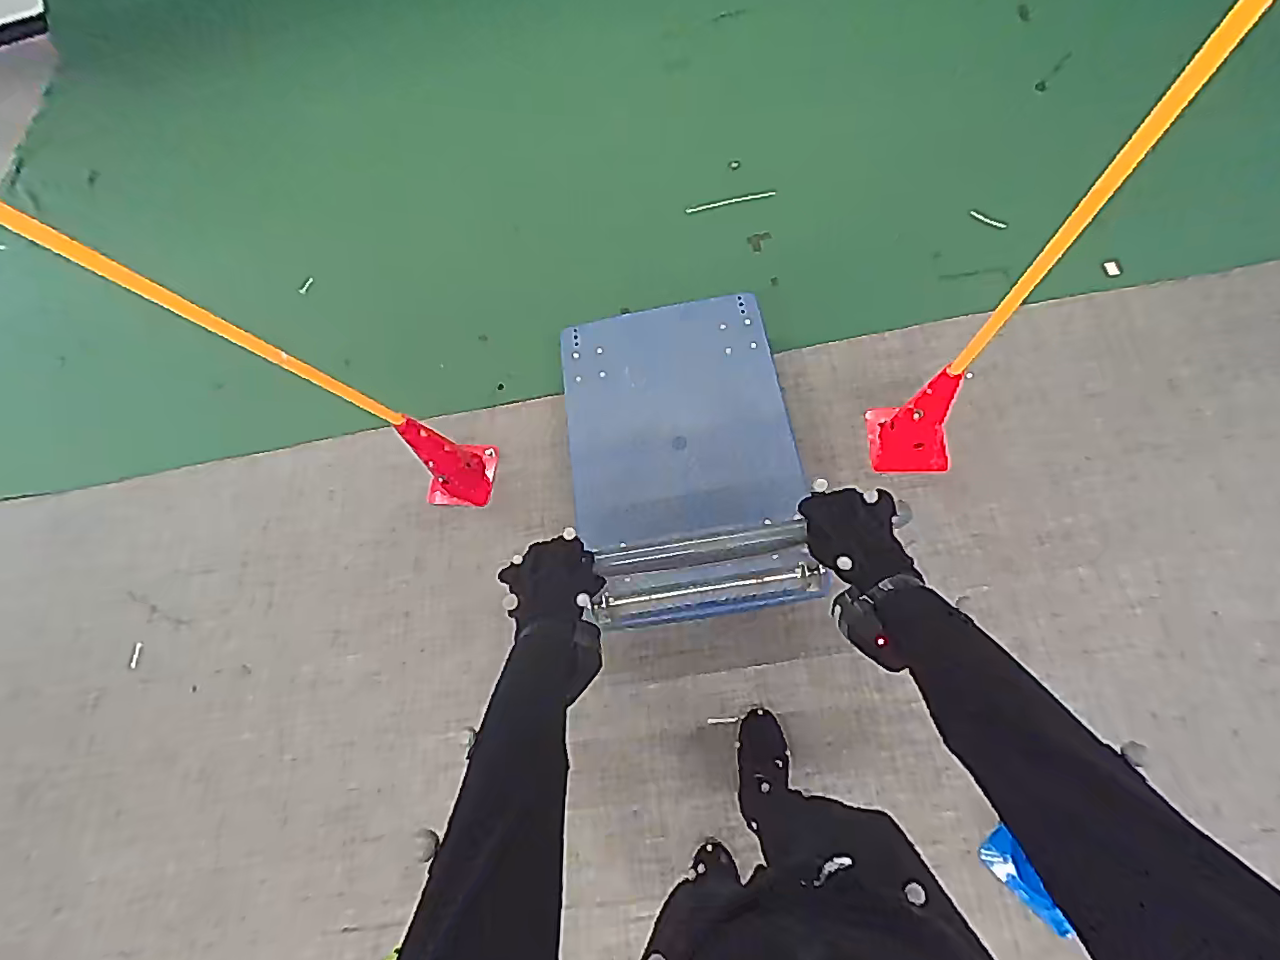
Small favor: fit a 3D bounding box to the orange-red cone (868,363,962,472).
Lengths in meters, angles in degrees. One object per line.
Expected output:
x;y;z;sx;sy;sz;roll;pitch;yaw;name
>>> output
0.706;-0.173;1.328;0.198;0.360;0.199;0;69;10;orange-red cone
